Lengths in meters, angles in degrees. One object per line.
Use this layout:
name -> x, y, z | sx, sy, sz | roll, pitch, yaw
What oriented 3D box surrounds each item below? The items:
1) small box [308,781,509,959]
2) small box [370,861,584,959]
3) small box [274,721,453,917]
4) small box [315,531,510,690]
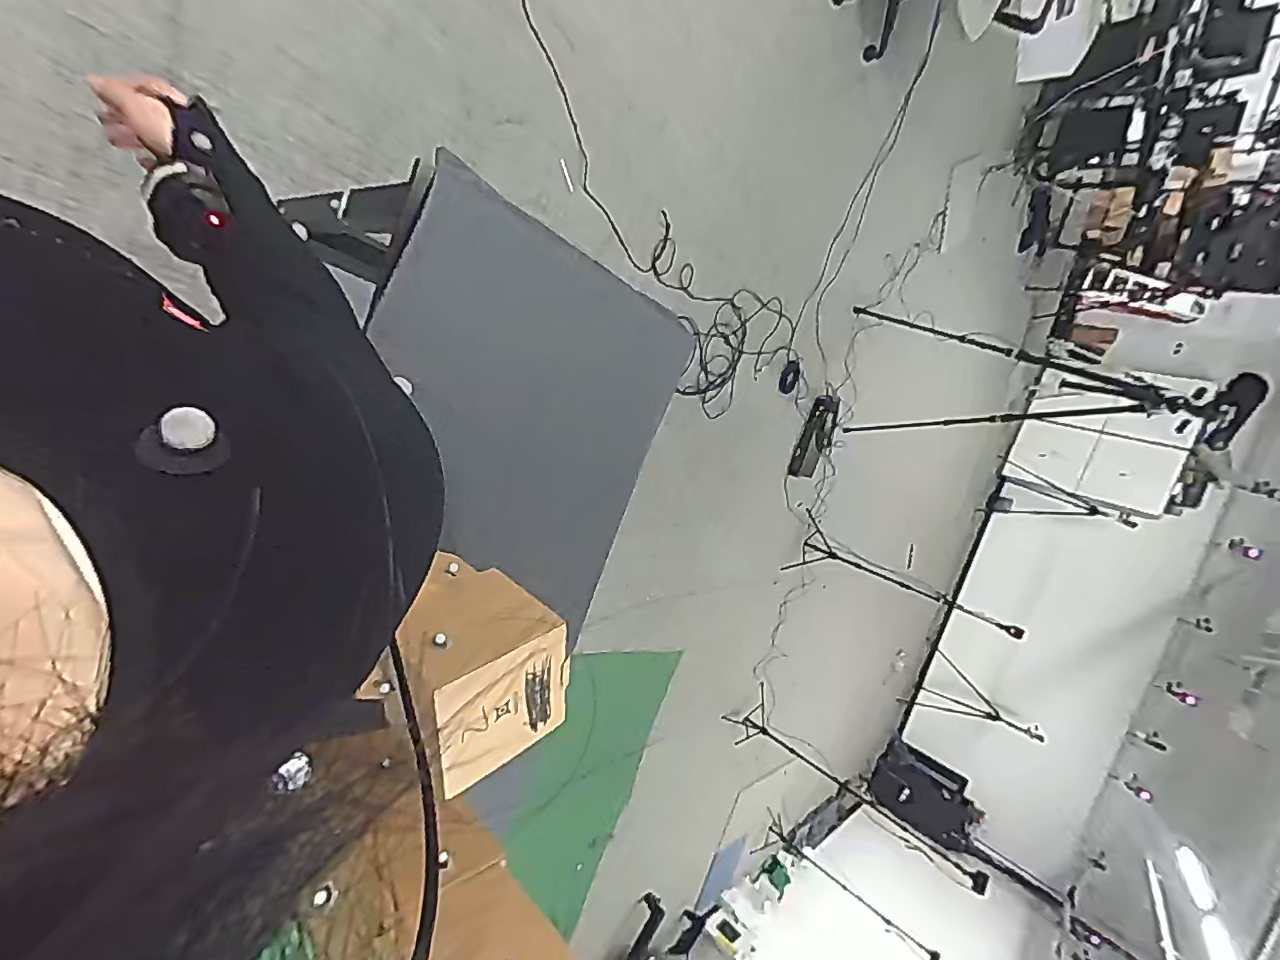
small box -> -0.313, 0.551, 0.734 | 0.179, 0.176, 0.168 | 8, 99, -51
small box -> -0.198, 0.600, 0.626 | 0.179, 0.176, 0.168 | 3, 103, -51
small box -> -0.430, 0.504, 0.837 | 0.179, 0.176, 0.168 | 14, 96, -53
small box -> -0.335, 0.191, 0.800 | 0.179, 0.176, 0.168 | 28, 85, -52
